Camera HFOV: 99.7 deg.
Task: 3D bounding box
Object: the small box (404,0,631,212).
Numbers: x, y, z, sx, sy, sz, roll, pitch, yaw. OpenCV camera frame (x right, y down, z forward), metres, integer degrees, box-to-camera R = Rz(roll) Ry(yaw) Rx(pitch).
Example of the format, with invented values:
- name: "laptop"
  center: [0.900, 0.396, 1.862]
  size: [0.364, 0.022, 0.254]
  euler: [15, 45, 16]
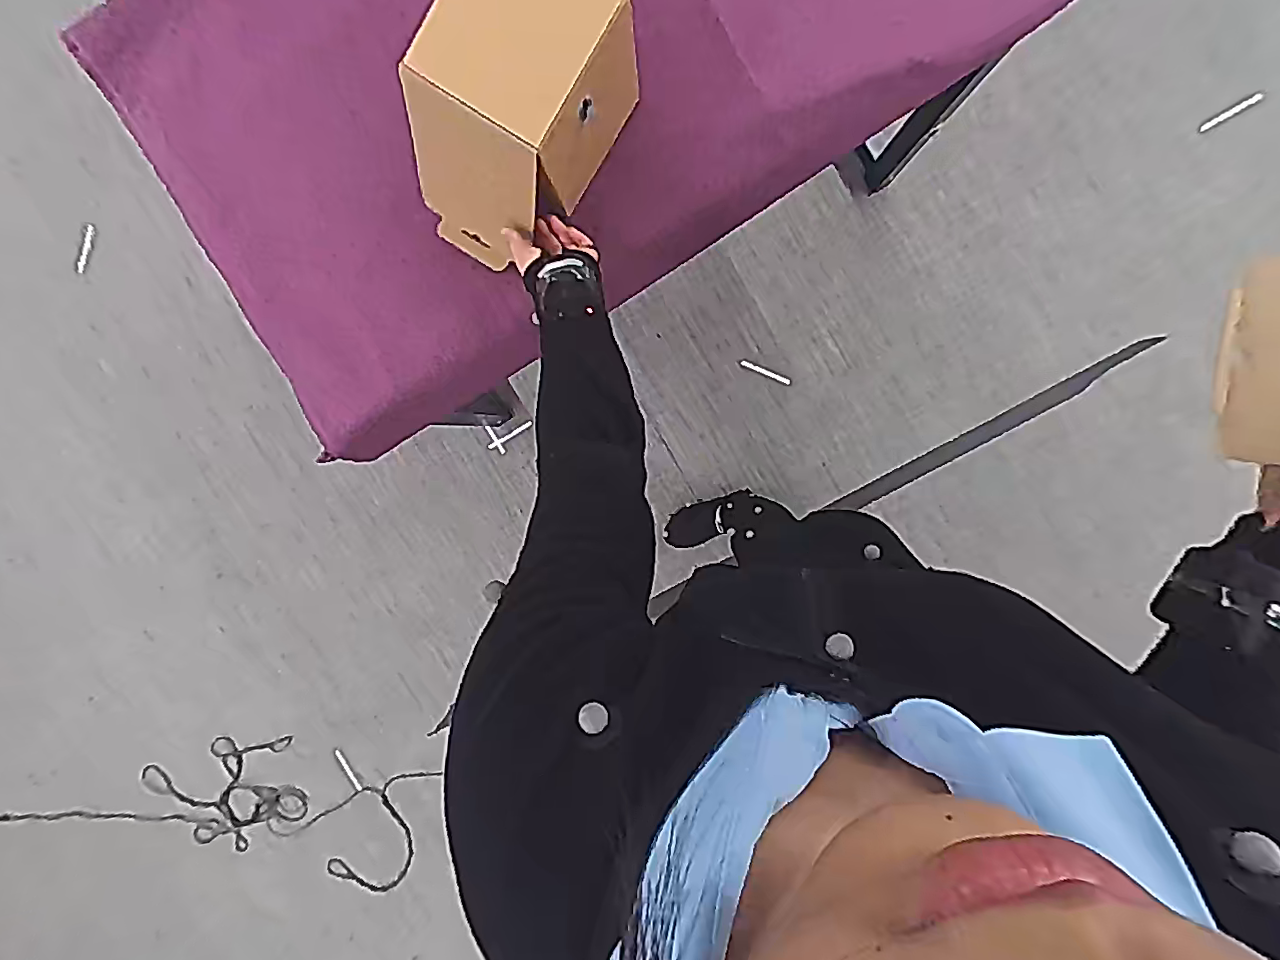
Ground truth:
- name: "small box"
  center: [-0.120, -0.447, 0.614]
  size: [0.168, 0.176, 0.179]
  euler: [33, 95, 0]
